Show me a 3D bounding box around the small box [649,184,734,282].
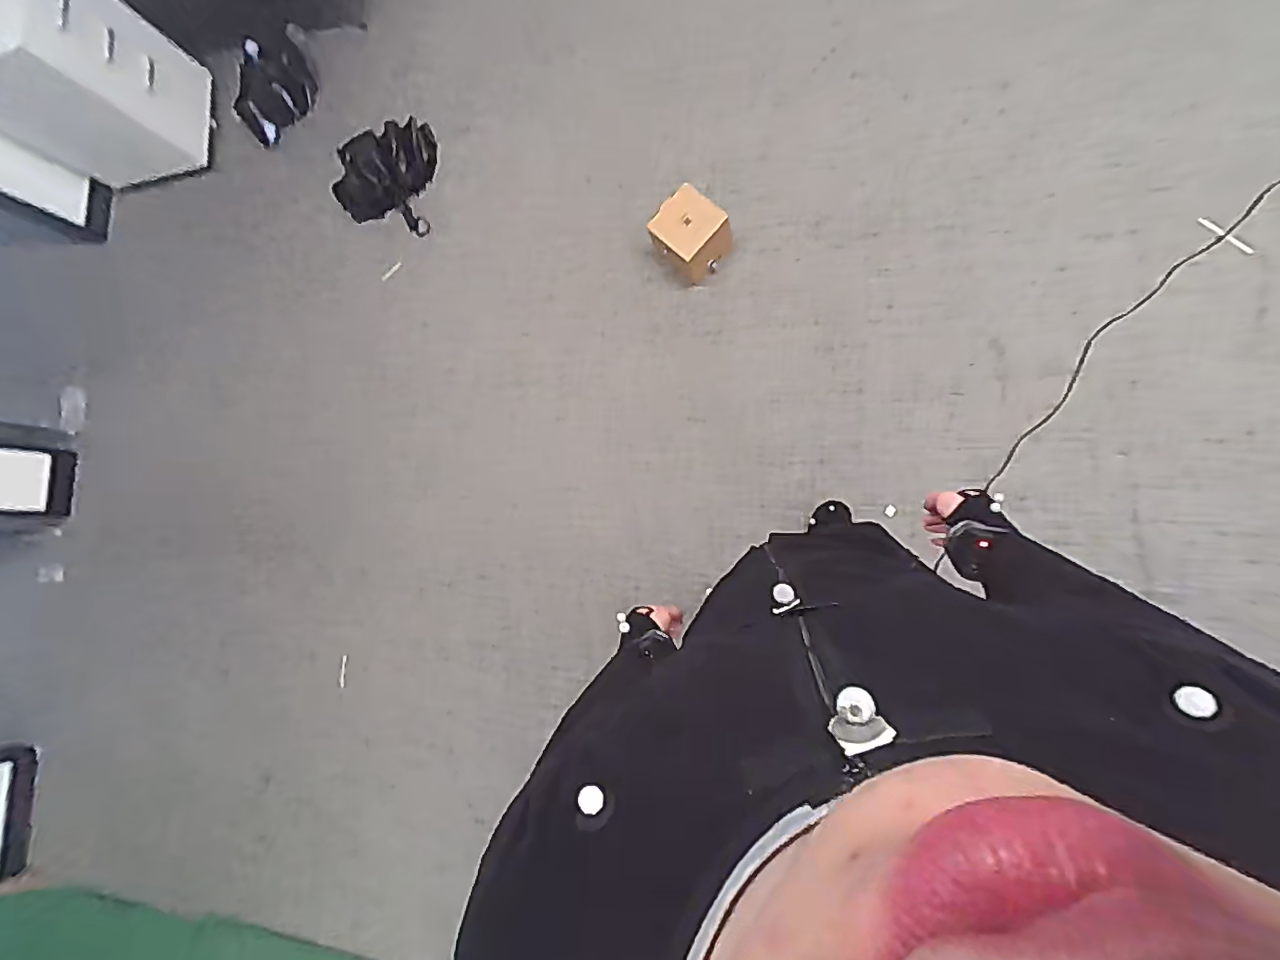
[{"bbox_3d":[0.156,-0.721,1.599,0.179,0.176,0.168,45,98,14],"label":"small box"}]
